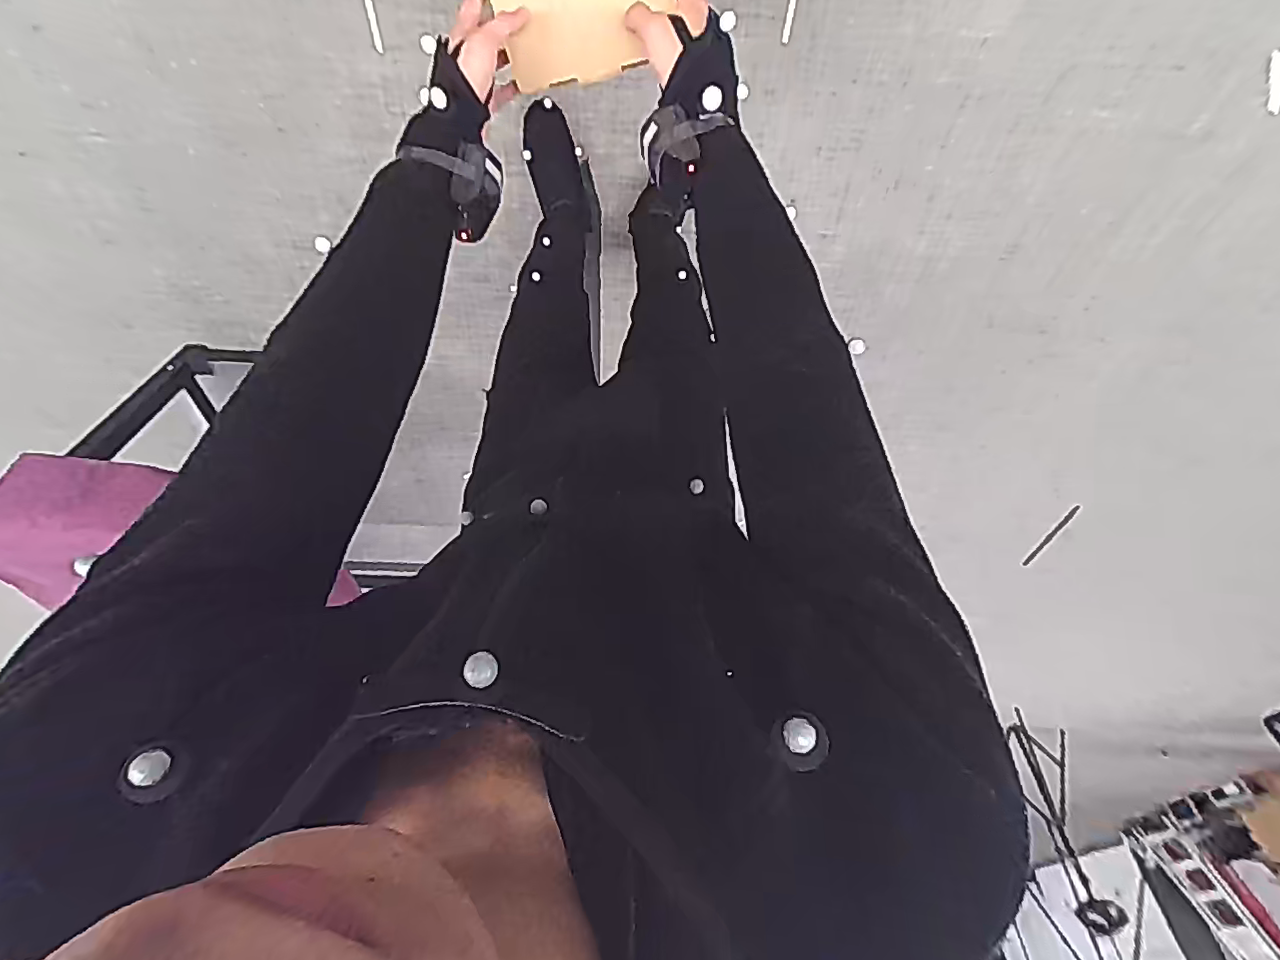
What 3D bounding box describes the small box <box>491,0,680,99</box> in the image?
[{"bbox_3d":[-0.055,-0.505,0.517,0.168,0.176,0.179,-8,137,8],"label":"small box"}]
